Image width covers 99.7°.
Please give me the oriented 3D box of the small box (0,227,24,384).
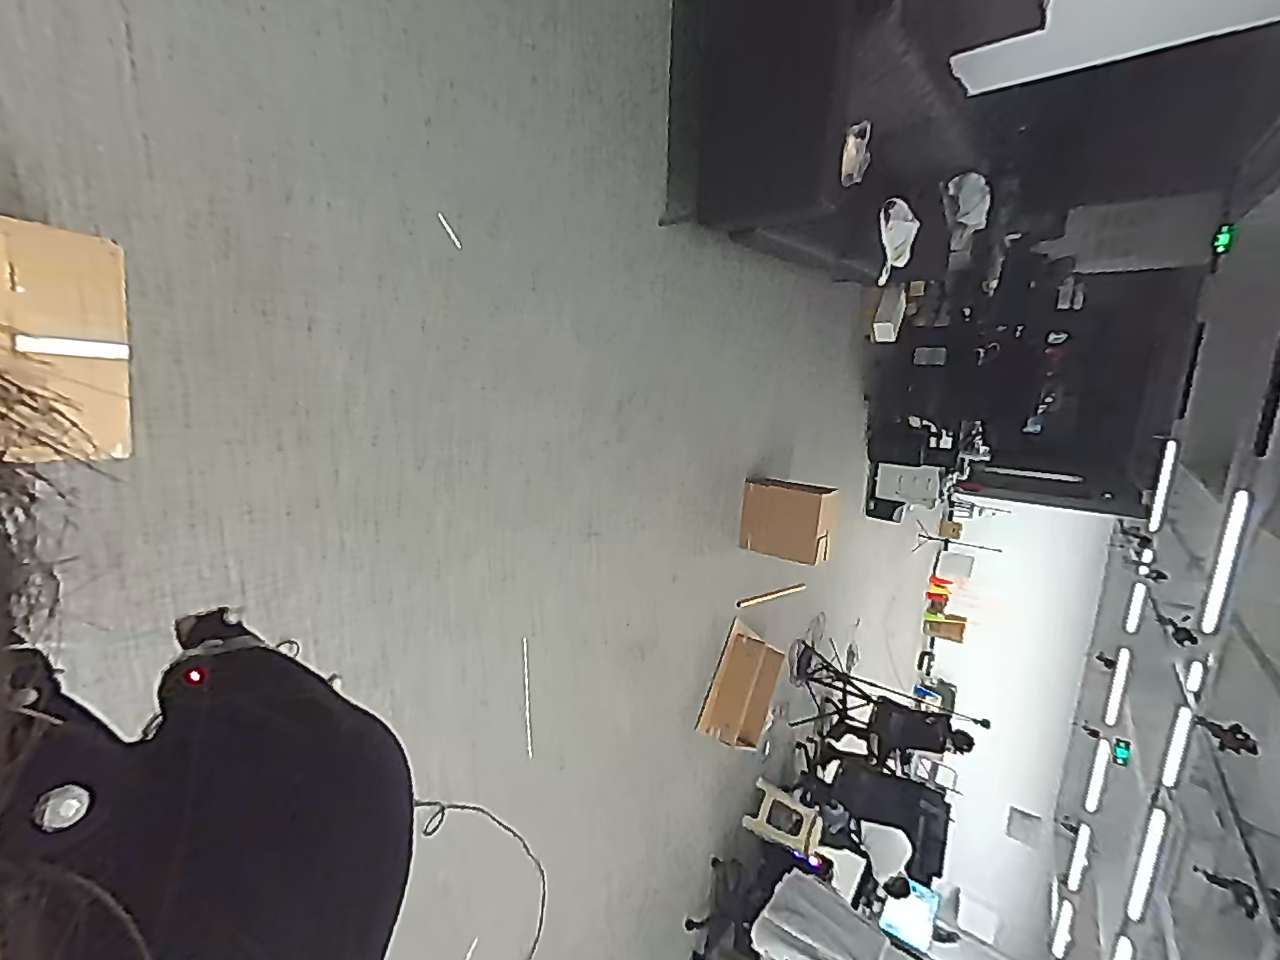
[{"bbox_3d":[-0.785,-0.194,0.563,0.179,0.176,0.168,-2,97,-53],"label":"small box"}]
